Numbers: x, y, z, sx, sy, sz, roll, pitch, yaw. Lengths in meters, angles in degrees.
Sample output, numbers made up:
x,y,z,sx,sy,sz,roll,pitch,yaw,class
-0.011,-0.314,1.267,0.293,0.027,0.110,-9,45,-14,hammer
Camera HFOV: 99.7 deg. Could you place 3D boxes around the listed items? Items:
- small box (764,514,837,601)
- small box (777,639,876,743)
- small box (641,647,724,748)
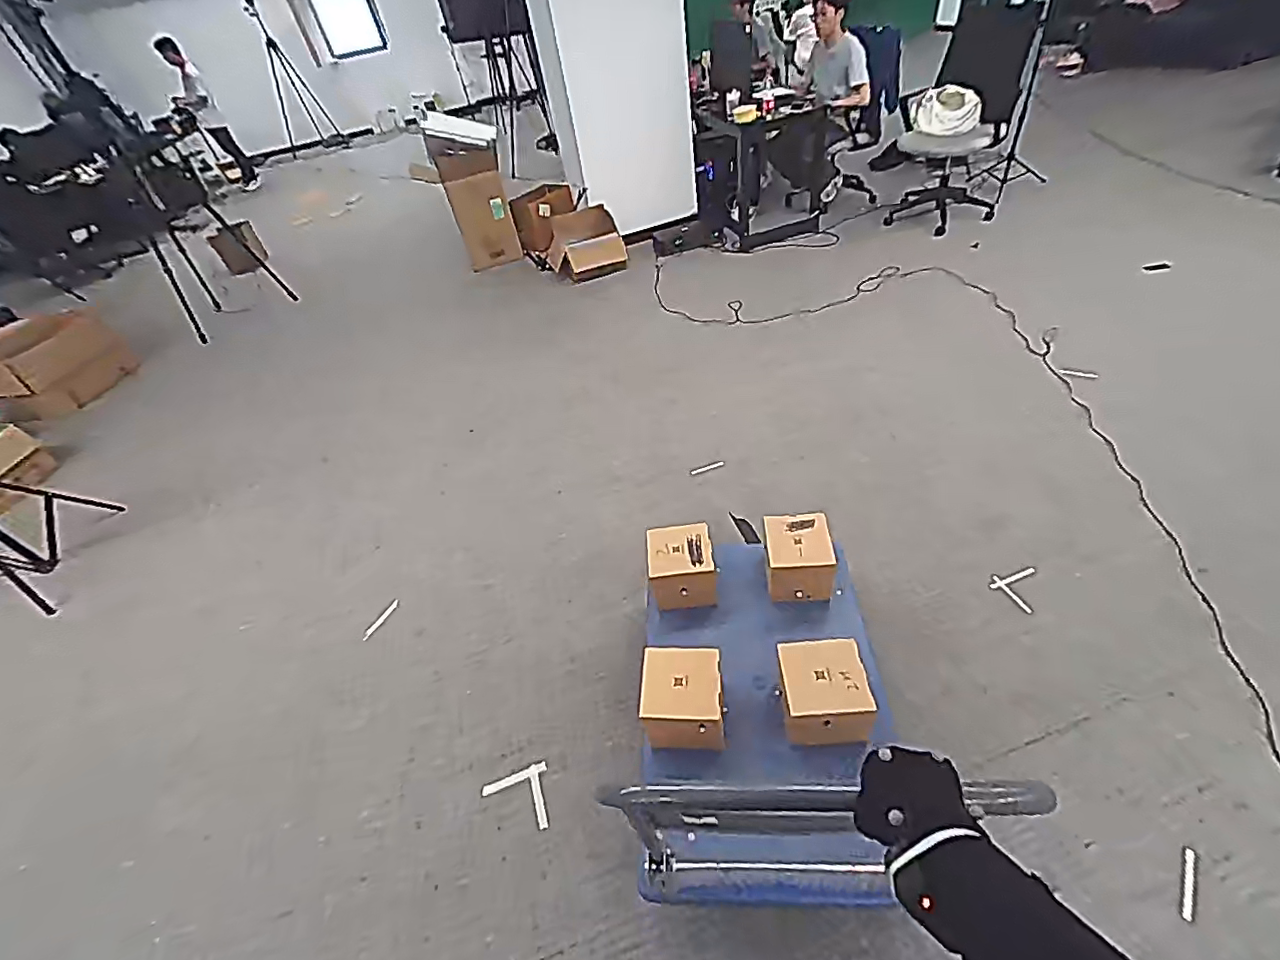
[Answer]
x,y,z,sx,sy,sz,roll,pitch,yaw,class
0.433,0.214,1.485,0.168,0.176,0.179,-4,45,8,small box
0.409,0.478,1.218,0.179,0.176,0.168,-6,44,6,small box
0.104,0.506,1.257,0.179,0.176,0.168,-2,44,8,small box
